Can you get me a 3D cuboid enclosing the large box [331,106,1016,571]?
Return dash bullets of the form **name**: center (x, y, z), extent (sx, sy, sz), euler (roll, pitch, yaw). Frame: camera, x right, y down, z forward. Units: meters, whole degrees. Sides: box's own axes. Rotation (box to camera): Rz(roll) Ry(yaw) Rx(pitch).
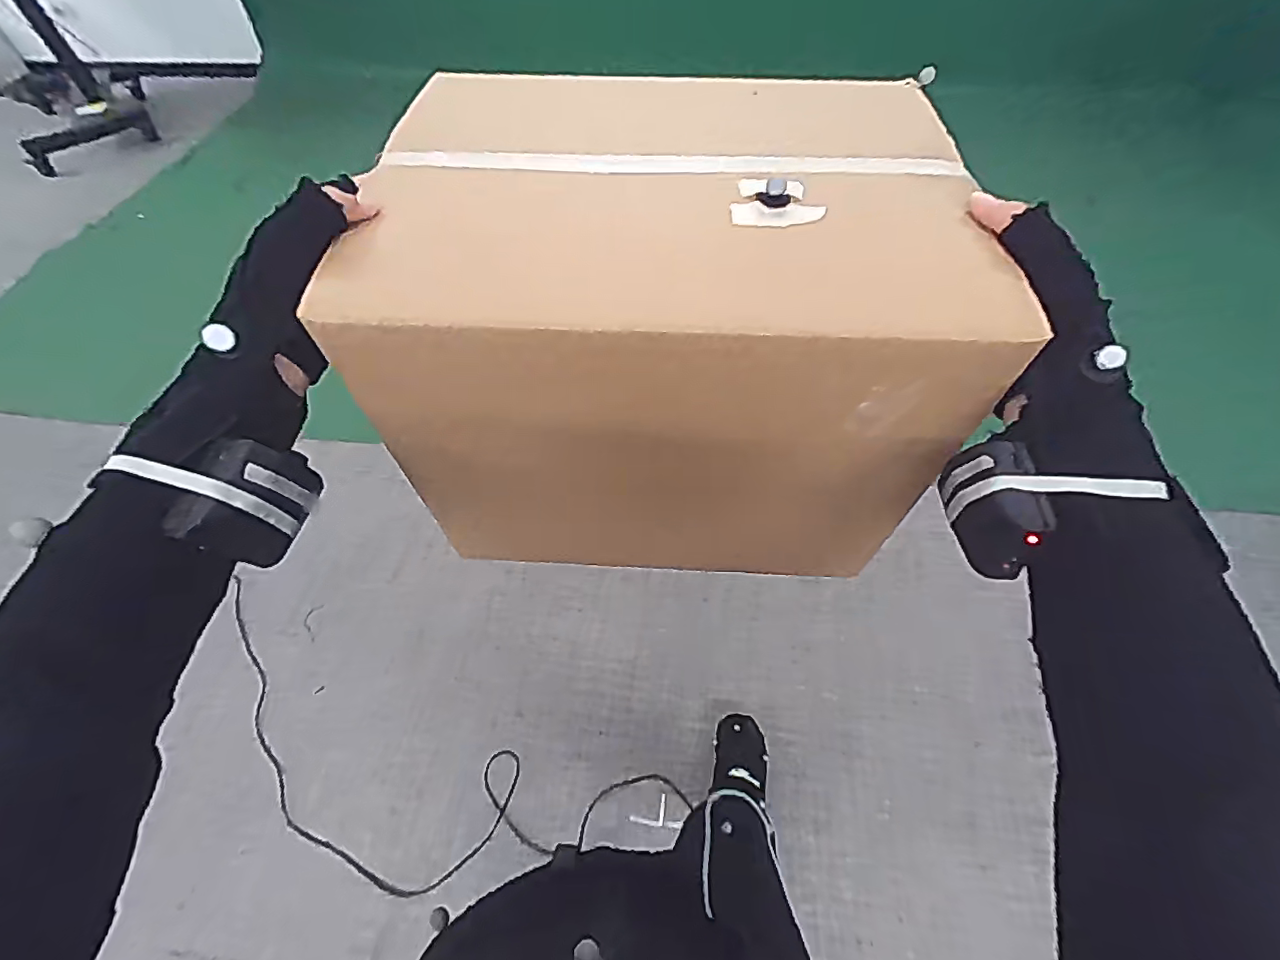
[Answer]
- **large box**: center (0.020, -0.118, 0.514), extent (0.408, 0.320, 0.320), euler (2, 57, 1)
